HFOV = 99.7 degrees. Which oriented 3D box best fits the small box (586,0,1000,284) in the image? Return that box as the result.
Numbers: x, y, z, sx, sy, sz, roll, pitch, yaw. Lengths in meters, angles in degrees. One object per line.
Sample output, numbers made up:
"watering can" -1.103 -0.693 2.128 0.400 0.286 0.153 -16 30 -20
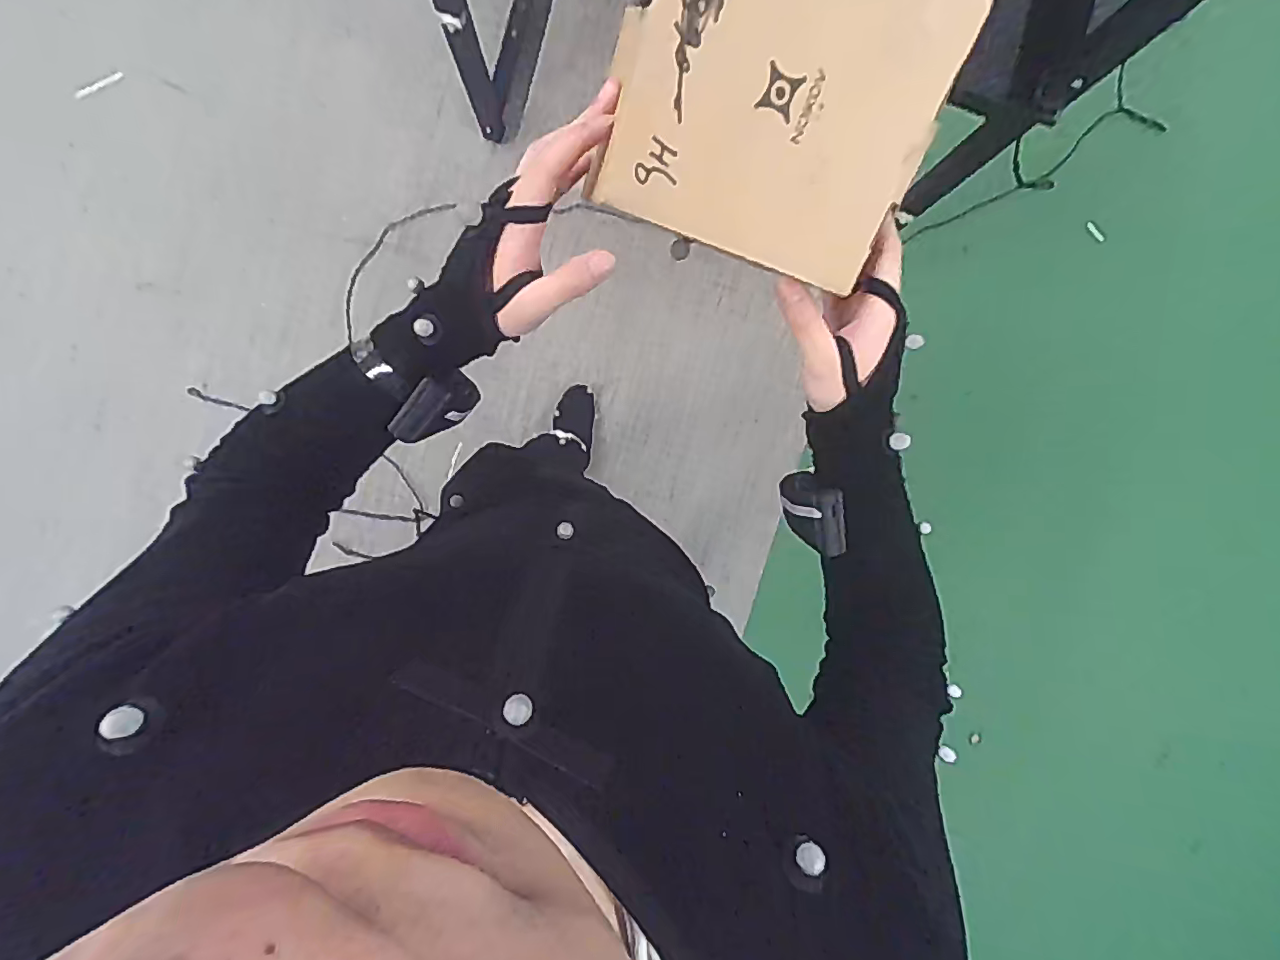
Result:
"small box" 0.073 -0.250 0.359 0.179 0.176 0.168 13 114 -17
